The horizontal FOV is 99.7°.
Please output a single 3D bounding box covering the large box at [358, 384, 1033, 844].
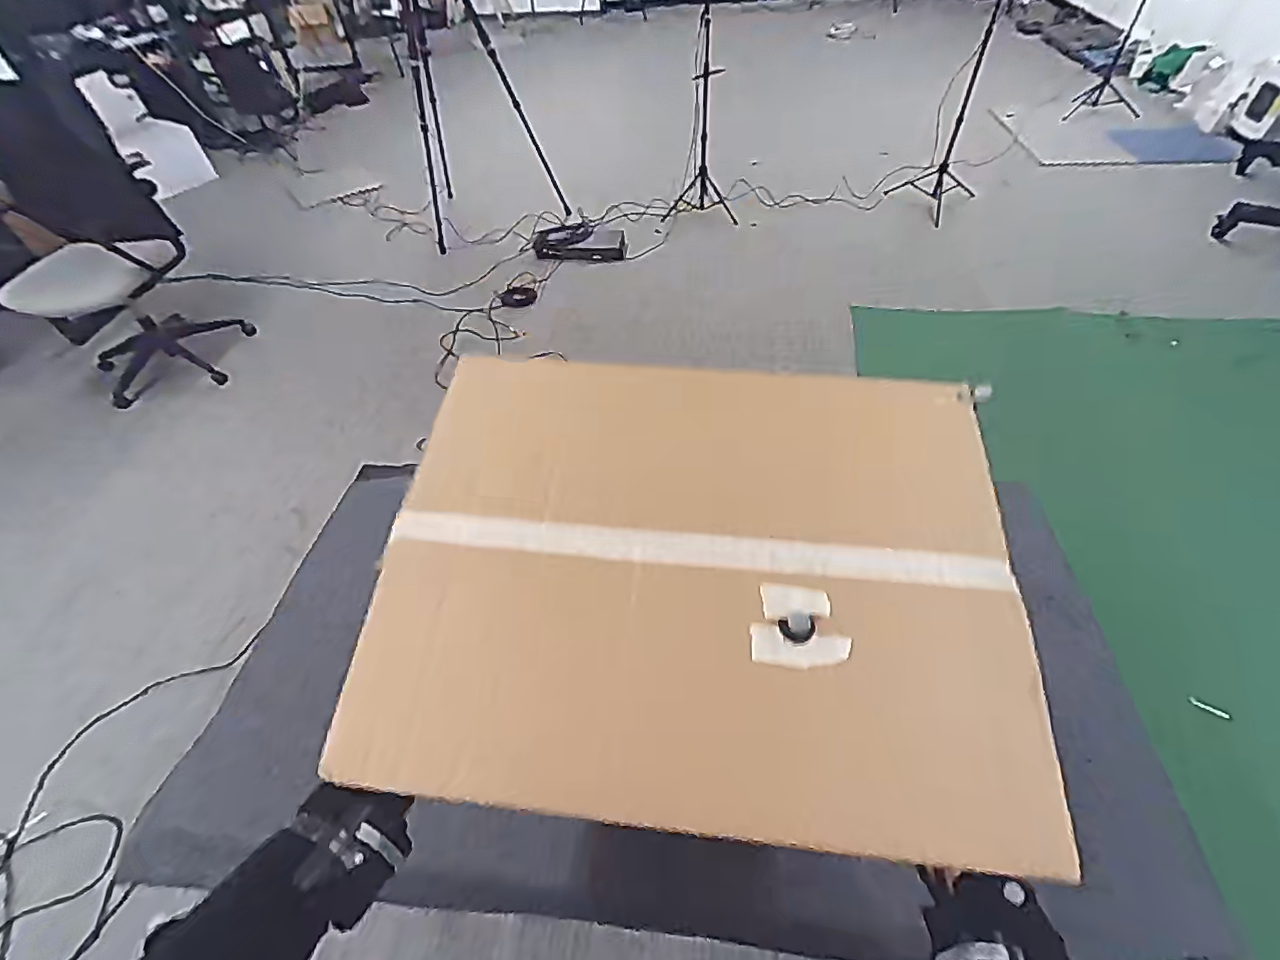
[{"bbox_3d":[0.040,0.132,0.516,0.408,0.320,0.320,4,61,4],"label":"large box"}]
